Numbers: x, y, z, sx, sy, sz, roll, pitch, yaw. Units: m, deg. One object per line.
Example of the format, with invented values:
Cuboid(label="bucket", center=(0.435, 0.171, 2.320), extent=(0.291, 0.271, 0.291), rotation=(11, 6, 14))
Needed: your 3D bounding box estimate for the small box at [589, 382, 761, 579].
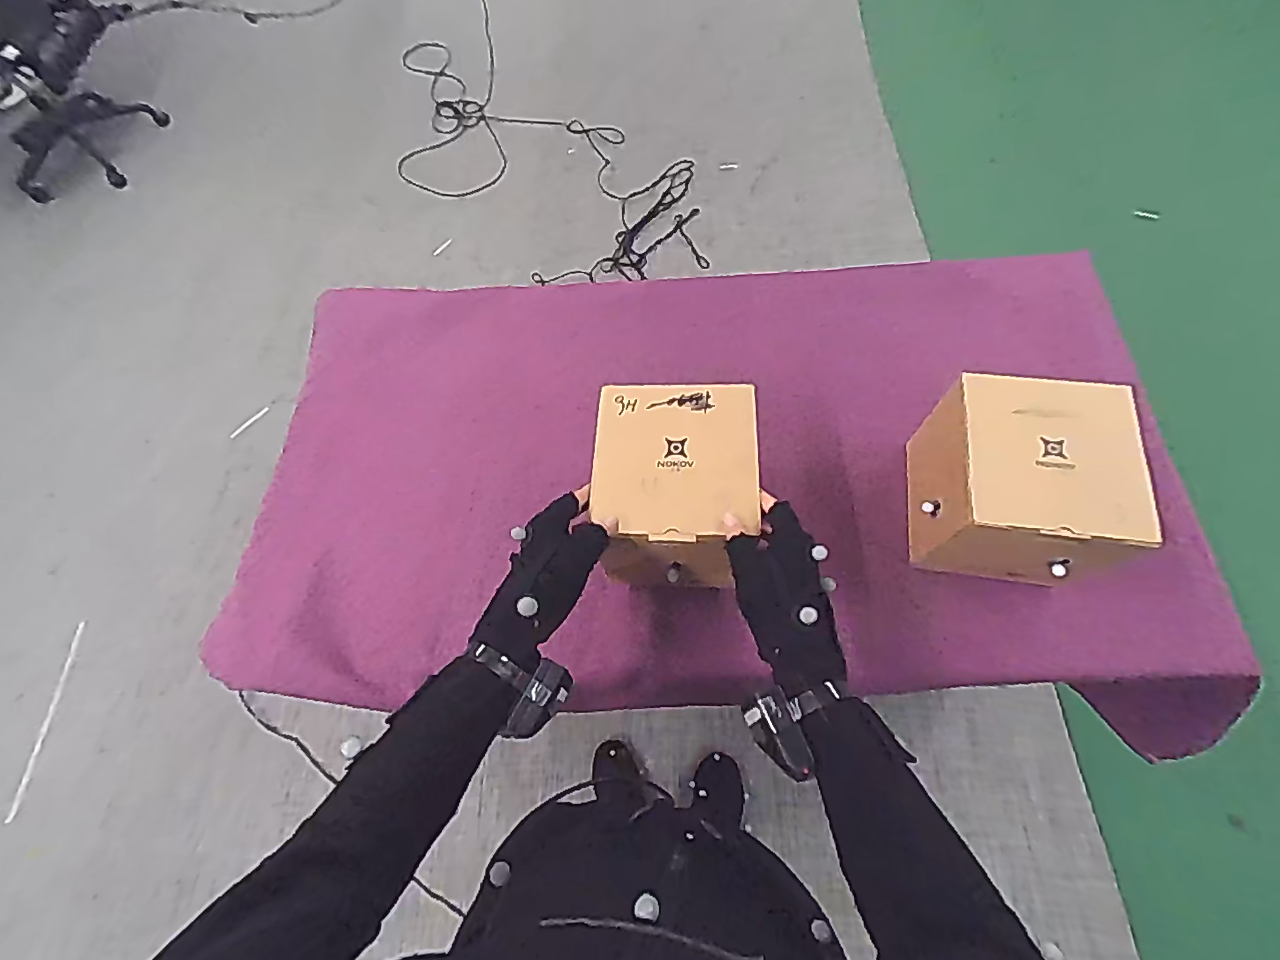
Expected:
Cuboid(label="small box", center=(0.044, 0.009, 0.609), extent=(0.168, 0.176, 0.179), rotation=(0, 65, 5))

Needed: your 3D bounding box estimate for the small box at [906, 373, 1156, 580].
Cuboid(label="small box", center=(0.415, 0.005, 0.610), extent=(0.168, 0.176, 0.179), rotation=(7, 67, 9))
